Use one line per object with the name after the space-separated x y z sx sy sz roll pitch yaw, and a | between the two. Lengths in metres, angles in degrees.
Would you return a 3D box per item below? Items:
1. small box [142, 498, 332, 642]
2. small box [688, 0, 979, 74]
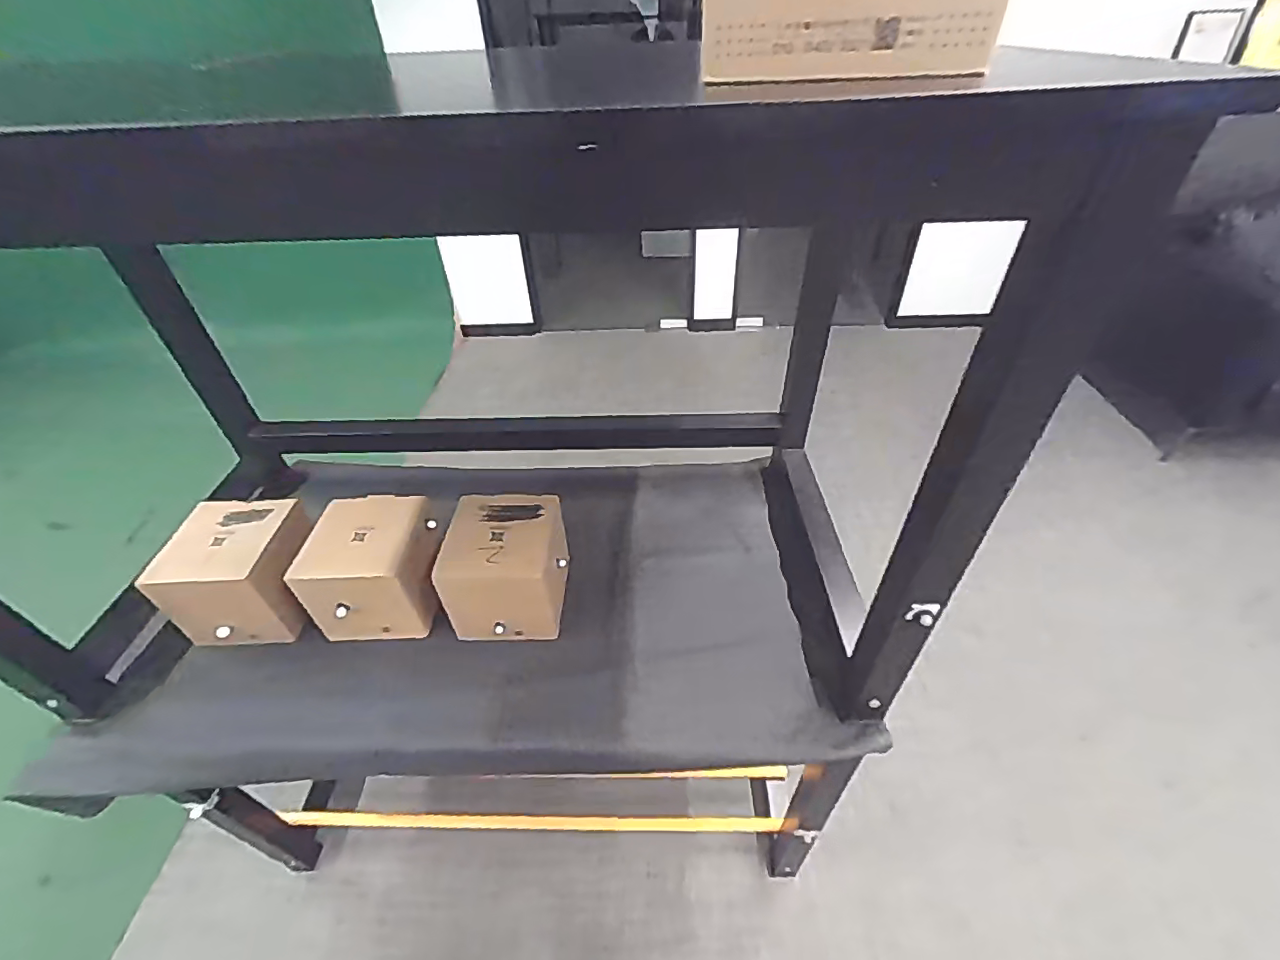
-0.654 0.150 0.910 0.168 0.176 0.179 -3 41 0 | small box
0.120 -0.358 0.331 0.168 0.176 0.179 6 41 10 | small box
